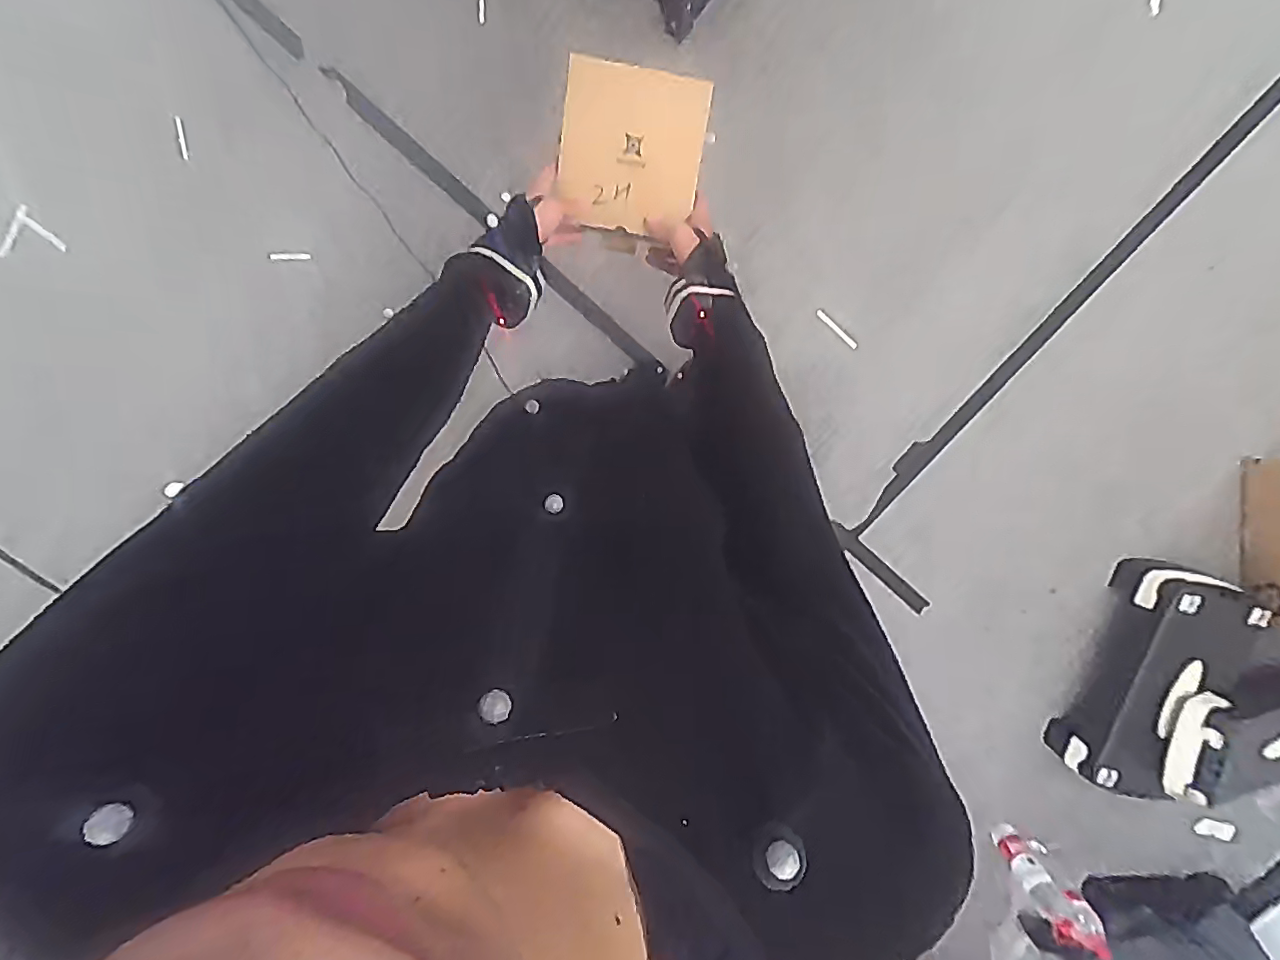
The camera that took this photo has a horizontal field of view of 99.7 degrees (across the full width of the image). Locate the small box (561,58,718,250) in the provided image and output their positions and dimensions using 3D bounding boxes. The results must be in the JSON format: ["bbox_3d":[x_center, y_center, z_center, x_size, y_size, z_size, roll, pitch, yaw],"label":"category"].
[{"bbox_3d":[-0.006,-0.412,0.716,0.168,0.176,0.179,9,113,-4],"label":"small box"}]
